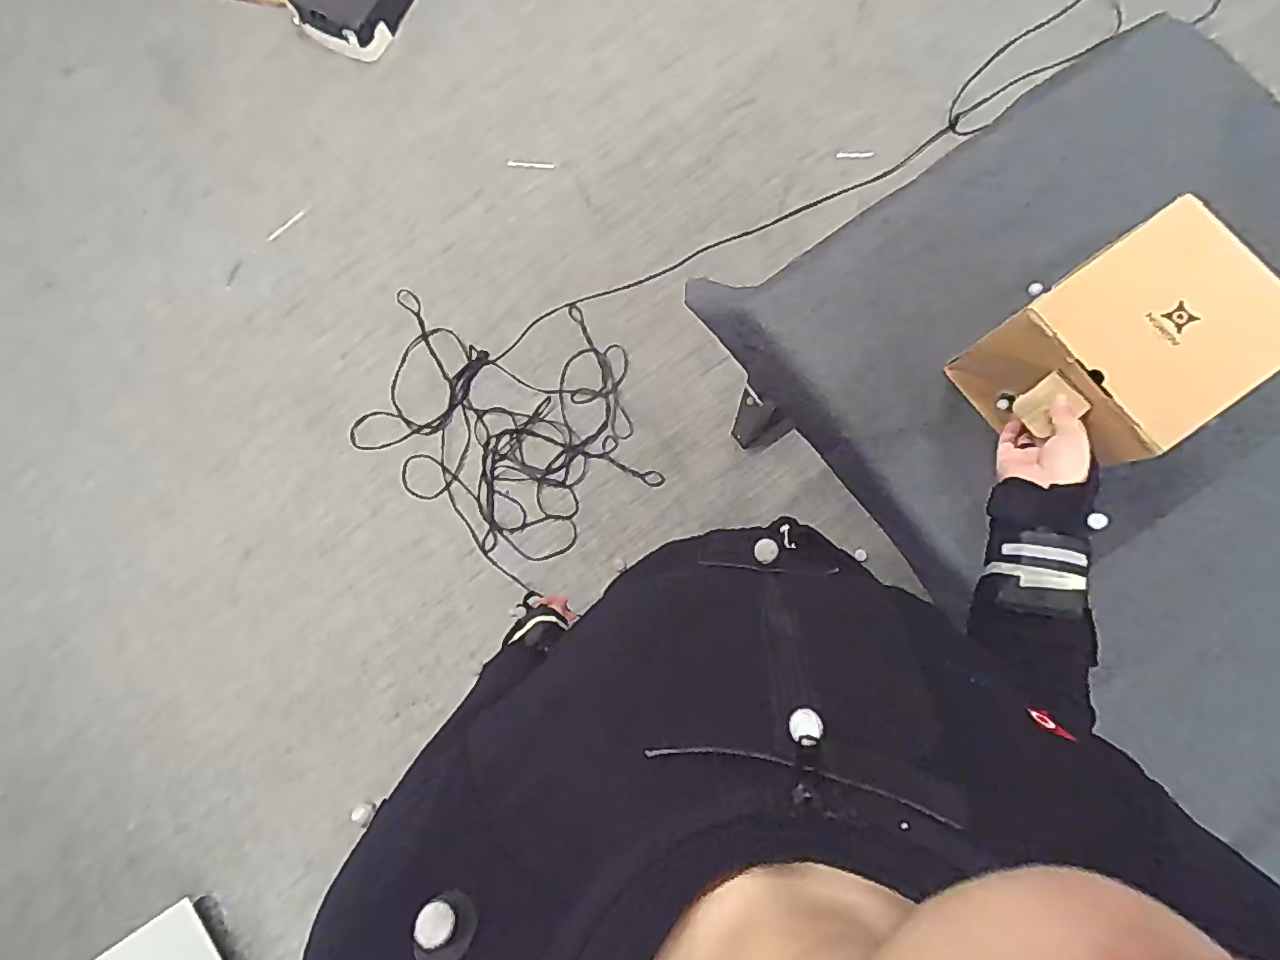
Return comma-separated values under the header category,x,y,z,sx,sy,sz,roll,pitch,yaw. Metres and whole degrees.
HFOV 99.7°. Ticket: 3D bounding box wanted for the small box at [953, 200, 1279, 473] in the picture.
category,x,y,z,sx,sy,sz,roll,pitch,yaw
small box,0.467,-0.126,0.544,0.179,0.176,0.168,-36,81,1
